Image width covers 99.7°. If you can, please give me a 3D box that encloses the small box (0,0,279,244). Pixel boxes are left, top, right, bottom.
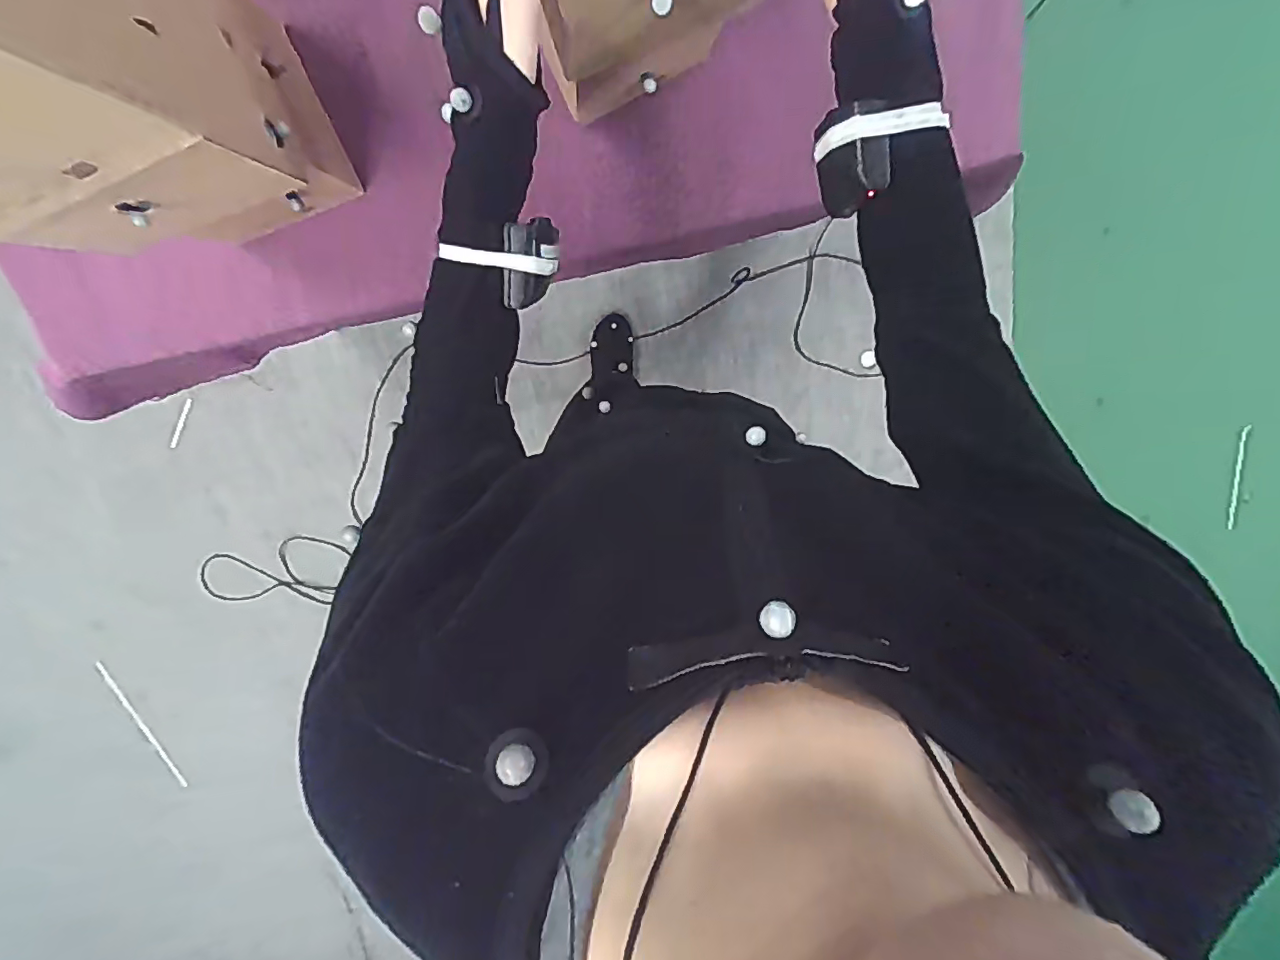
[{"bbox_3d":[-0.392,-0.278,0.370,0.179,0.176,0.168,-21,109,0],"label":"small box"}]

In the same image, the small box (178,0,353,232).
[{"bbox_3d":[-0.414,-0.353,0.515,0.168,0.176,0.179,-20,109,0],"label":"small box"}]

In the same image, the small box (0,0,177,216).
[{"bbox_3d":[-0.362,-0.219,0.221,0.168,0.176,0.179,-25,109,1],"label":"small box"}]

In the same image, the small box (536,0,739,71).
[{"bbox_3d":[-0.008,-0.421,0.362,0.179,0.176,0.168,-21,109,2],"label":"small box"}]

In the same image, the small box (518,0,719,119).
[{"bbox_3d":[-0.032,-0.489,0.511,0.168,0.176,0.179,-26,109,3],"label":"small box"}]
